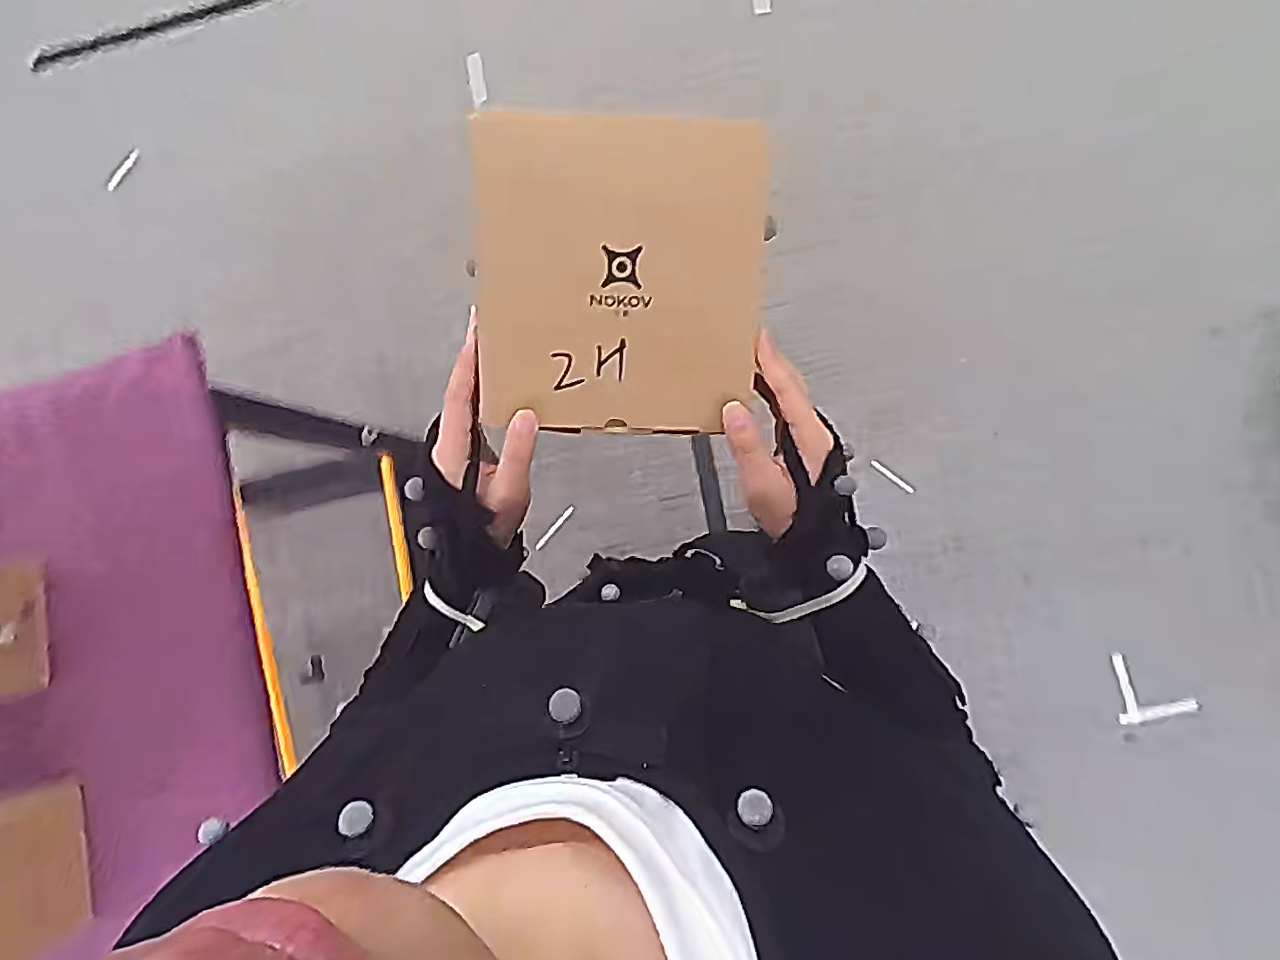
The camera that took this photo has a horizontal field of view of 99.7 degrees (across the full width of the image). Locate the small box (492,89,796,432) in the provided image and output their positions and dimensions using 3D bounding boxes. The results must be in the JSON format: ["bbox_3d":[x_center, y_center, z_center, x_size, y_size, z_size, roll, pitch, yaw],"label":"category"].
[{"bbox_3d":[-0.004,-0.134,0.385,0.168,0.176,0.179,3,102,-2],"label":"small box"}]

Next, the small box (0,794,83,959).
[{"bbox_3d":[-0.788,0.492,0.607,0.168,0.176,0.179,-12,84,4],"label":"small box"}]

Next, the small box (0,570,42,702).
[{"bbox_3d":[-0.875,0.203,0.633,0.179,0.176,0.168,-9,85,3],"label":"small box"}]
